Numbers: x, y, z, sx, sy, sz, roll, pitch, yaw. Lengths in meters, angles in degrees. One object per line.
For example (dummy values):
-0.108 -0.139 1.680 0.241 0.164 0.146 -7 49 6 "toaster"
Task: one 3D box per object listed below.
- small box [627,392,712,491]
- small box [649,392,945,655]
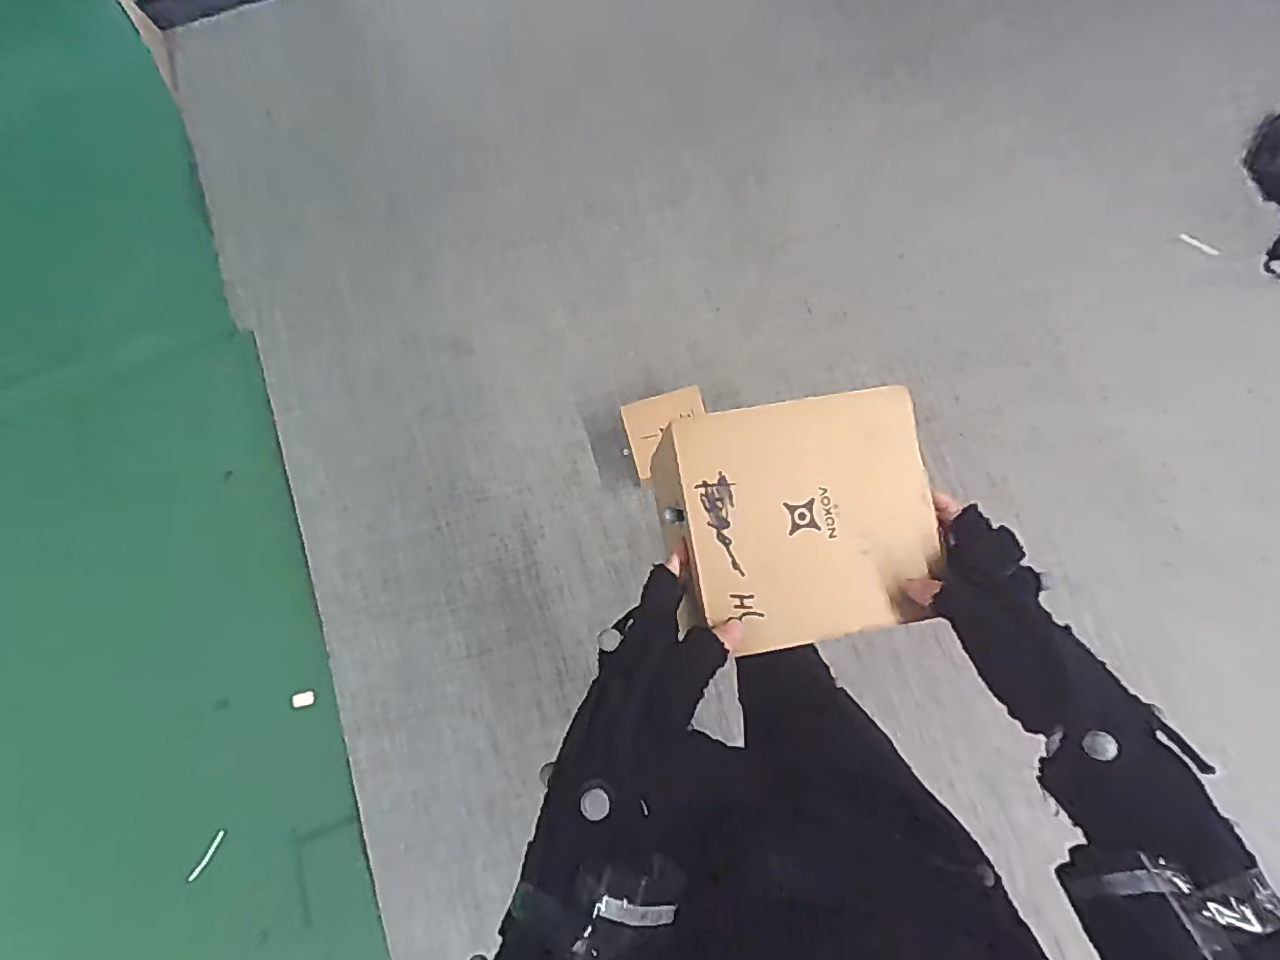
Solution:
0.073 -0.080 1.212 0.179 0.176 0.168 -13 80 0 "small box"
0.112 0.036 0.460 0.179 0.176 0.168 -9 83 -5 "small box"
